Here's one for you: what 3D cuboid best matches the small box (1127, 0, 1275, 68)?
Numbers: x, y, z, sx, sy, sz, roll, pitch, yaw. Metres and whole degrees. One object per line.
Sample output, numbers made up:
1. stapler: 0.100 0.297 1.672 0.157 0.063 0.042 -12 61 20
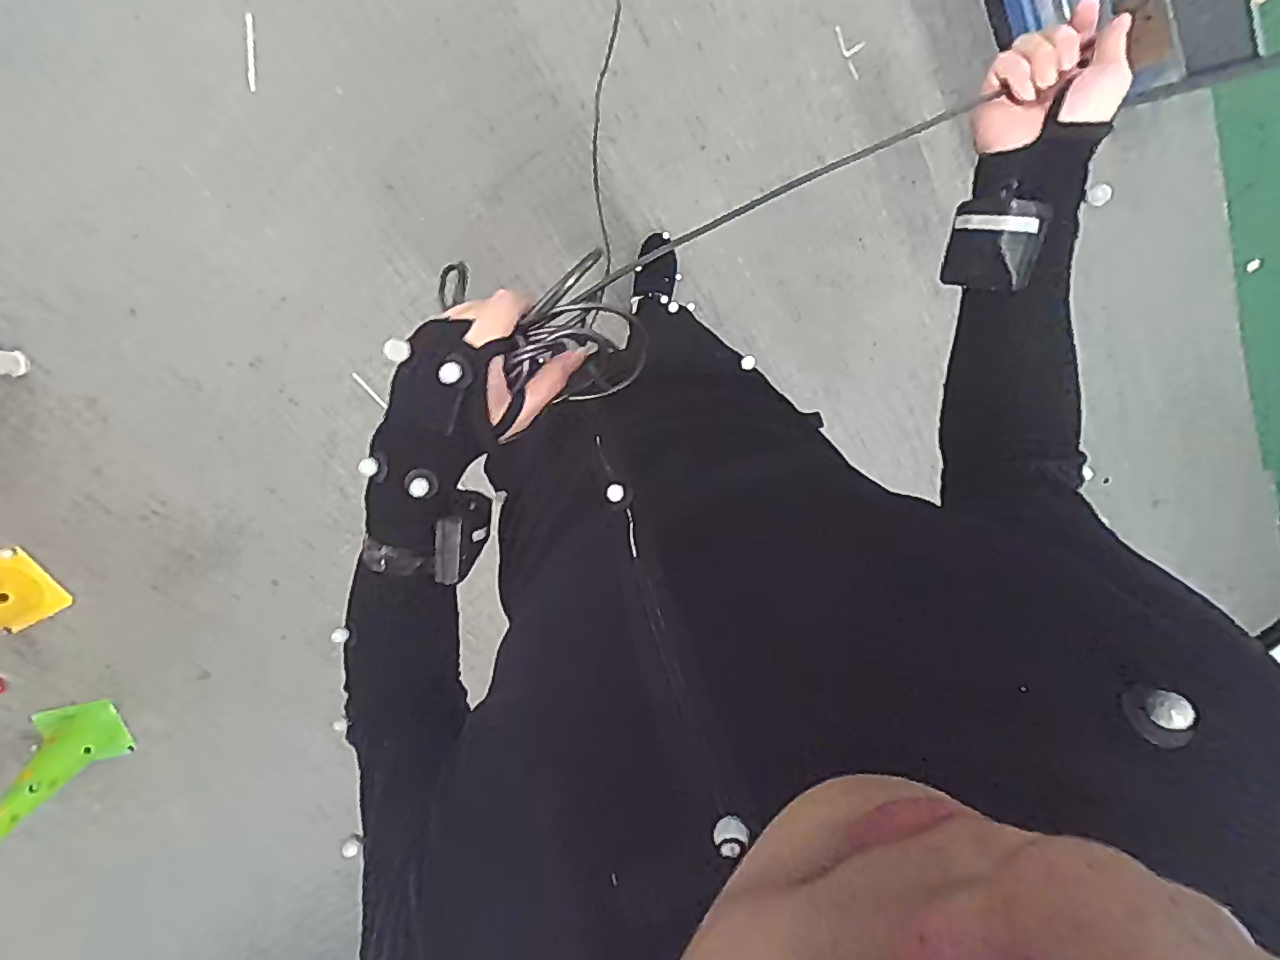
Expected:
1. small box: 1.298 -1.115 1.254 0.179 0.176 0.168 -35 112 3
